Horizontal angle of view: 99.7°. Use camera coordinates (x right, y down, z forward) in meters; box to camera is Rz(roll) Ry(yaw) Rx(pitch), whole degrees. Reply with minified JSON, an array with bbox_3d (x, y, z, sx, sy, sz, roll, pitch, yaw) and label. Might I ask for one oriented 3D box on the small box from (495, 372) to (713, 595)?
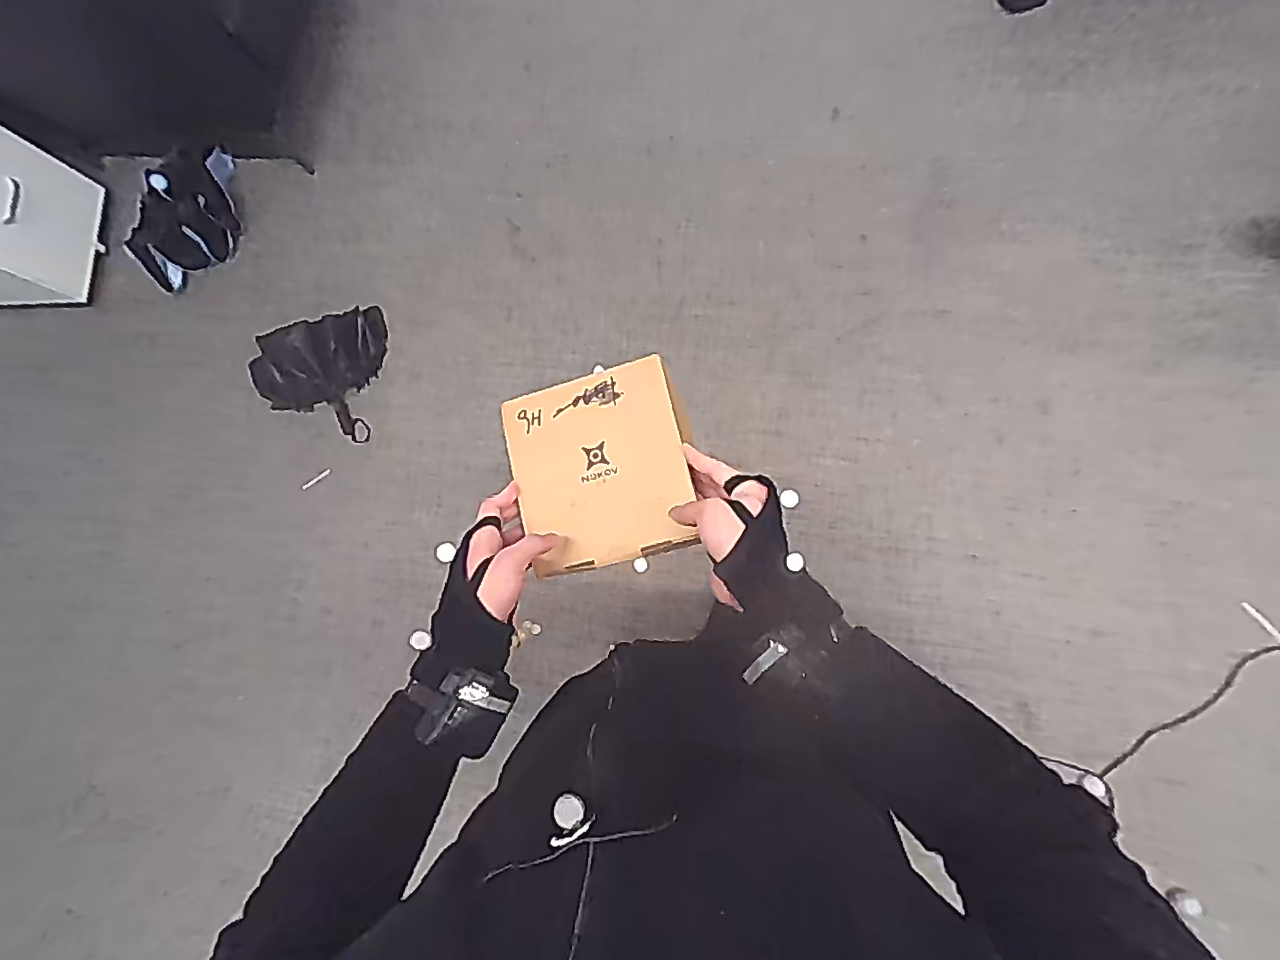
[{"bbox_3d":[-0.026,0.011,0.574,0.168,0.176,0.179,-16,80,11],"label":"small box"}]
